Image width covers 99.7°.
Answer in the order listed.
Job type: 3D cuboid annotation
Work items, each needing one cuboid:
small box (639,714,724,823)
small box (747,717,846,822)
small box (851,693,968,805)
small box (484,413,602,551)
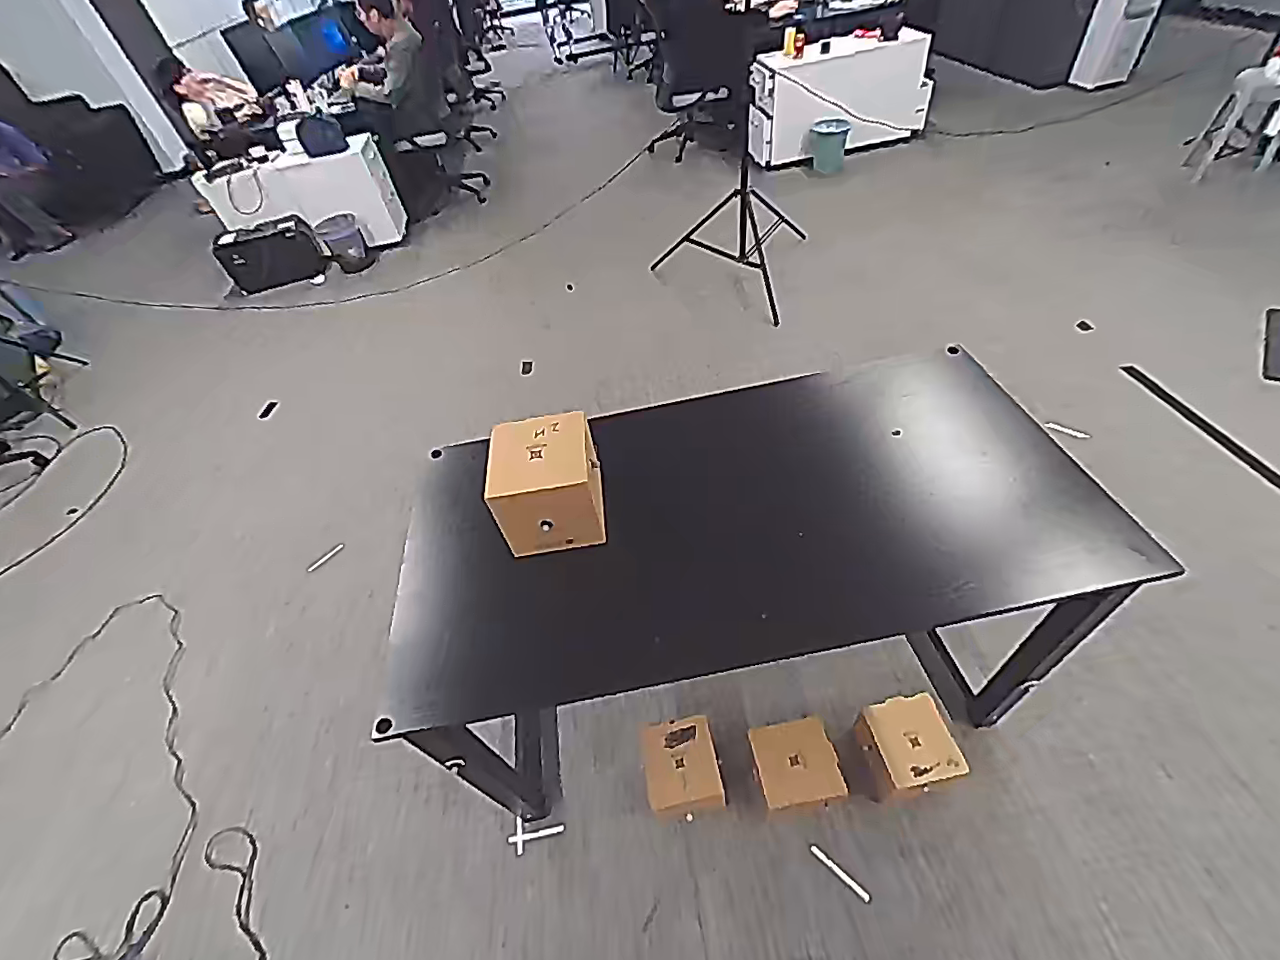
[{"bbox_3d":[0.098,0.690,1.290,0.168,0.176,0.179,-12,48,-1],"label":"small box"},{"bbox_3d":[0.353,0.677,1.259,0.179,0.176,0.168,-12,47,0],"label":"small box"},{"bbox_3d":[0.611,0.626,1.256,0.168,0.176,0.179,-13,47,-1],"label":"small box"},{"bbox_3d":[-0.164,0.010,0.959,0.168,0.176,0.179,-9,47,1],"label":"small box"}]
